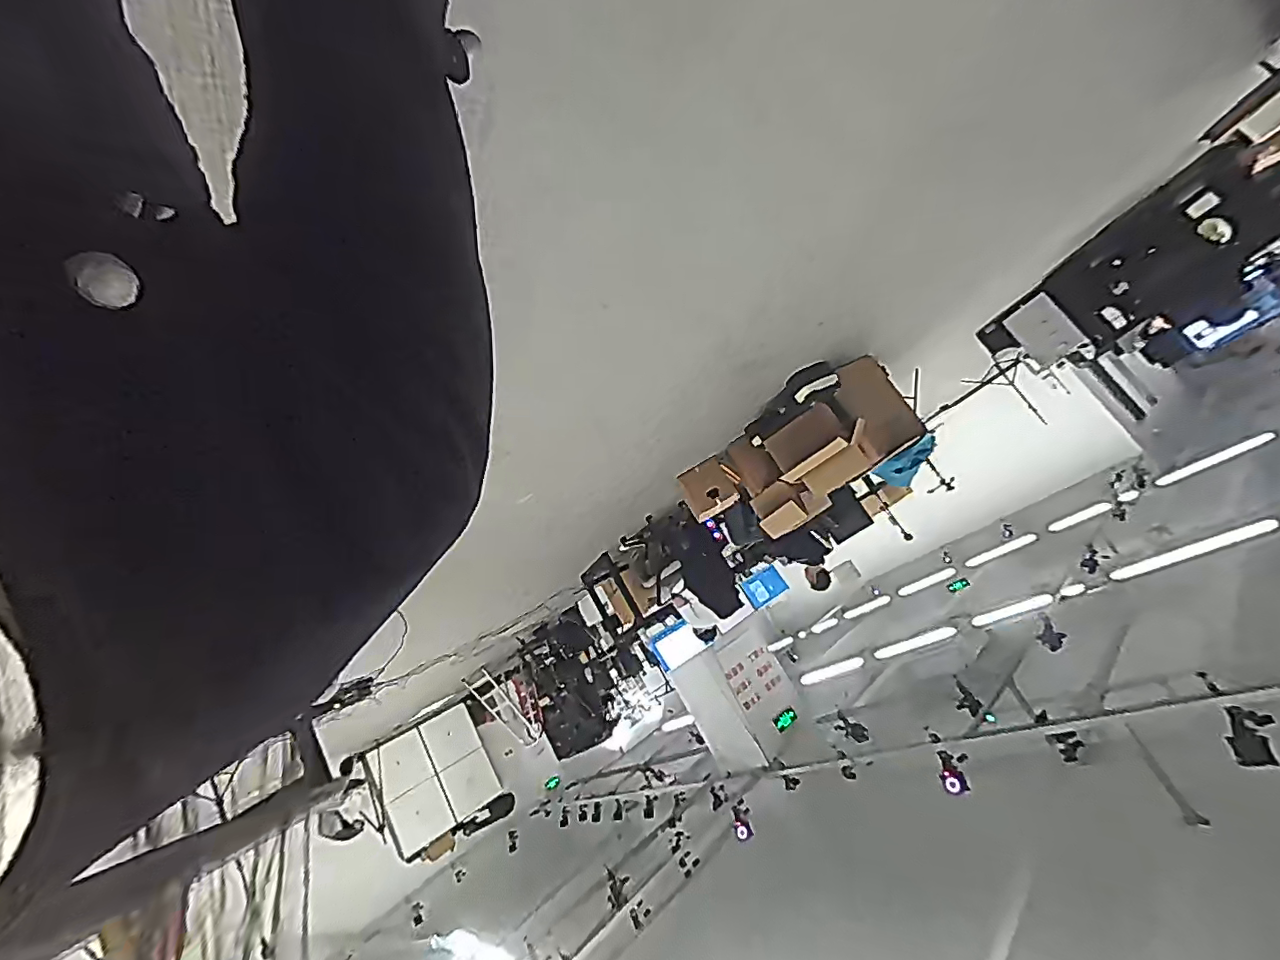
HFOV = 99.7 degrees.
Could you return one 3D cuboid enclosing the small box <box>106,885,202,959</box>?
[{"bbox_3d":[-1.422,1.330,1.582,0.179,0.176,0.168,-18,161,-38],"label":"small box"}]
